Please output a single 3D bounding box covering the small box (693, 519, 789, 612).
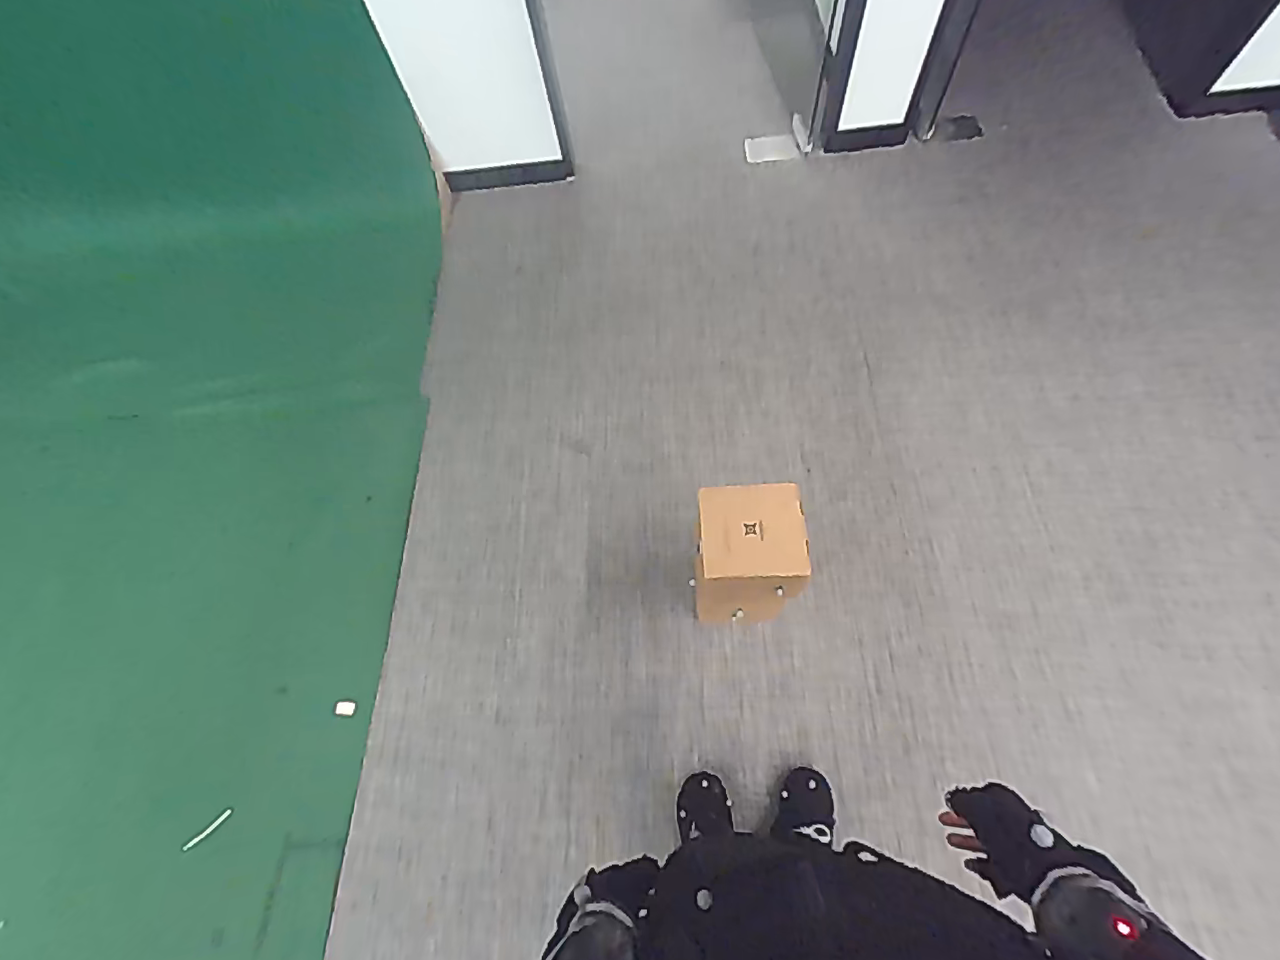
[{"bbox_3d":[0.205,0.181,1.138,0.179,0.176,0.168,-4,67,5],"label":"small box"}]

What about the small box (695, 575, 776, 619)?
[{"bbox_3d":[0.222,0.234,1.289,0.179,0.176,0.168,-4,65,6],"label":"small box"}]

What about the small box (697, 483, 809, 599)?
[{"bbox_3d":[0.196,0.116,0.986,0.179,0.176,0.168,-4,65,6],"label":"small box"}]
